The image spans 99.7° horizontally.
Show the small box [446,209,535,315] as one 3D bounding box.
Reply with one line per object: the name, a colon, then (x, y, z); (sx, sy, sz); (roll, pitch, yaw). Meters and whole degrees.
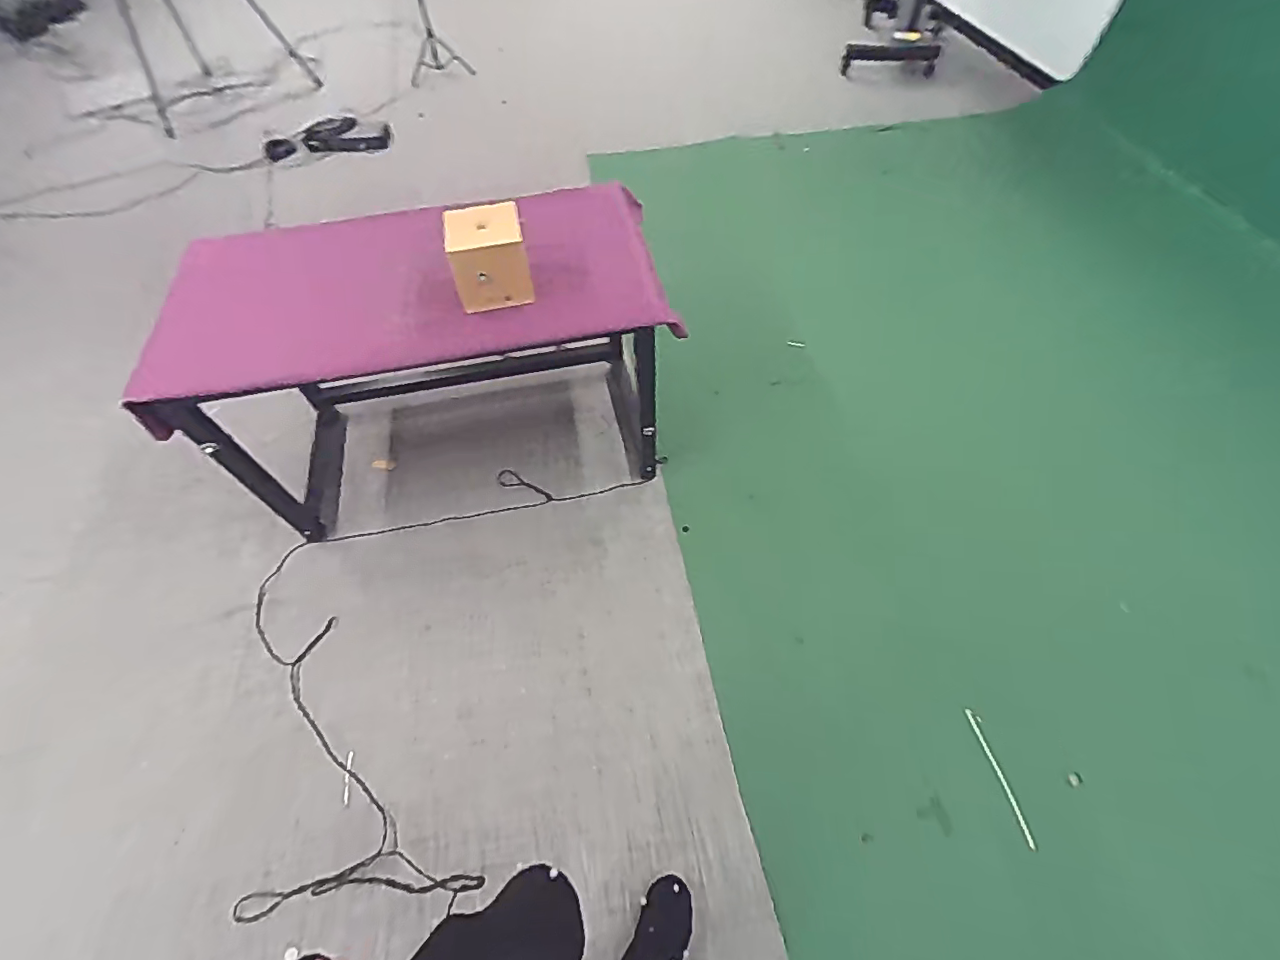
small box: (-0.355, -0.514, 1.296); (0.168, 0.176, 0.179); (-12, 55, -6)
